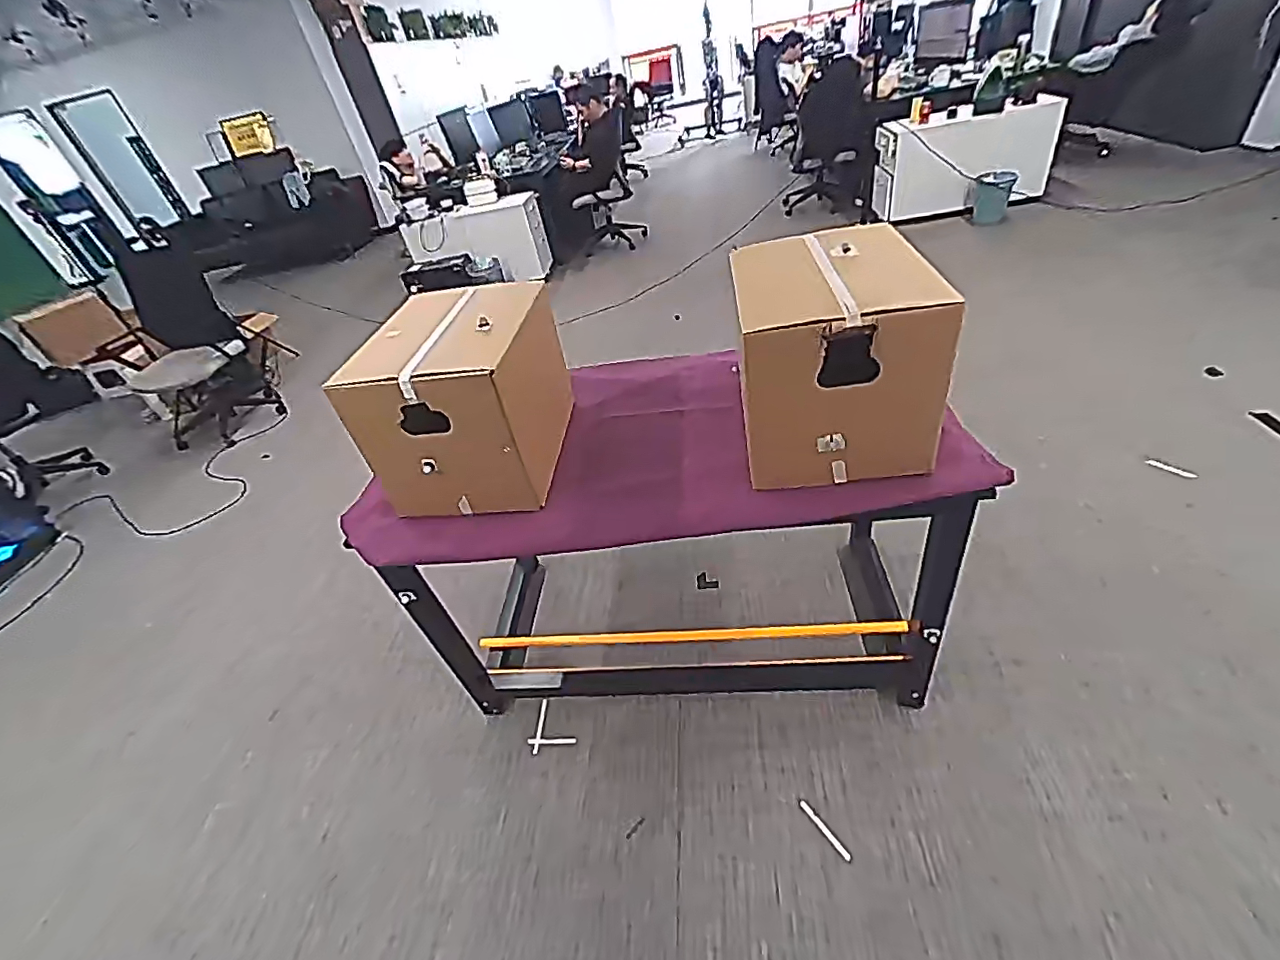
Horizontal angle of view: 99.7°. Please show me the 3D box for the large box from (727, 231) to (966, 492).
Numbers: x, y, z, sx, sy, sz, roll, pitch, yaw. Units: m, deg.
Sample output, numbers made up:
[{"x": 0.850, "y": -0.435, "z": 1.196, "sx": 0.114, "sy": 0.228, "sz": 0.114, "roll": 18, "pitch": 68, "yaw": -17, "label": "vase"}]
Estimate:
[{"x": 0.344, "y": -0.228, "z": 1.012, "sx": 0.320, "sy": 0.320, "sz": 0.408, "roll": -5, "pitch": 38, "yaw": 9, "label": "large box"}]
